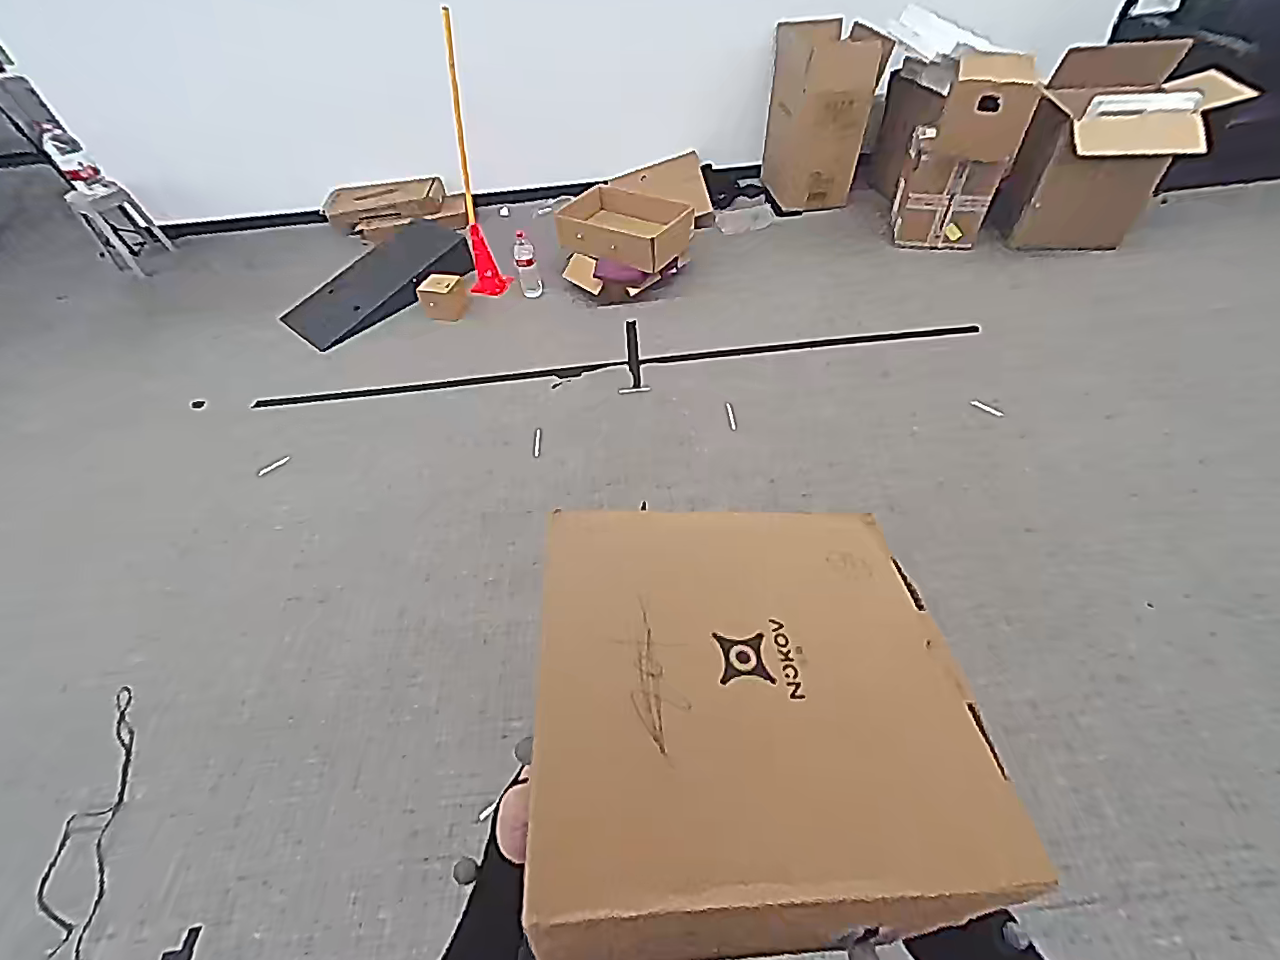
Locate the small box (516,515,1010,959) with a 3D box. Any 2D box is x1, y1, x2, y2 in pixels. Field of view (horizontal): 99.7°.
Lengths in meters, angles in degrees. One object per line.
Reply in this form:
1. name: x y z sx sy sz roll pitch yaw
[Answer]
1. small box: 0.034 0.137 0.292 0.179 0.176 0.168 1 43 -6
